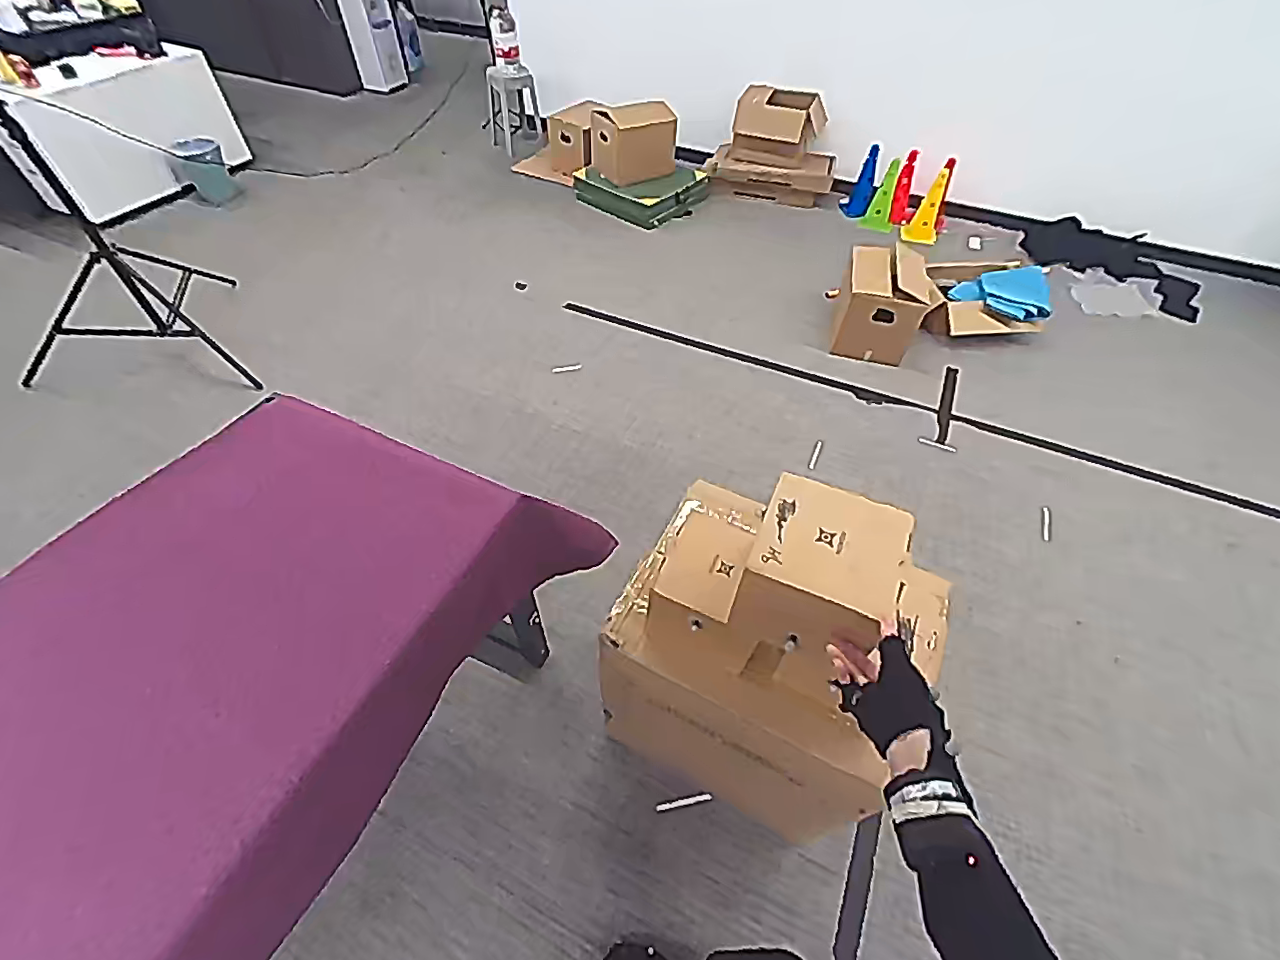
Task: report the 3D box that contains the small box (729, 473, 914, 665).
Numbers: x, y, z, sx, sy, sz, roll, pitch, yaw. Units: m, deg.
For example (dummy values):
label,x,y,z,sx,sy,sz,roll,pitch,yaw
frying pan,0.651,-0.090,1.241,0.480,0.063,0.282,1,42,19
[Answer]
label,x,y,z,sx,sy,sz,roll,pitch,yaw
small box,0.235,0.126,0.726,0.179,0.176,0.168,20,54,15

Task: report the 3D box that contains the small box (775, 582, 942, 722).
label,x,y,z,sx,sy,sz,roll,pitch,yaw
small box,0.330,0.249,0.837,0.179,0.176,0.168,23,54,19

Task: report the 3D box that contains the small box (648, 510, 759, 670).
label,x,y,z,sx,sy,sz,roll,pitch,yaw
small box,0.123,0.185,0.885,0.179,0.176,0.168,22,54,14
